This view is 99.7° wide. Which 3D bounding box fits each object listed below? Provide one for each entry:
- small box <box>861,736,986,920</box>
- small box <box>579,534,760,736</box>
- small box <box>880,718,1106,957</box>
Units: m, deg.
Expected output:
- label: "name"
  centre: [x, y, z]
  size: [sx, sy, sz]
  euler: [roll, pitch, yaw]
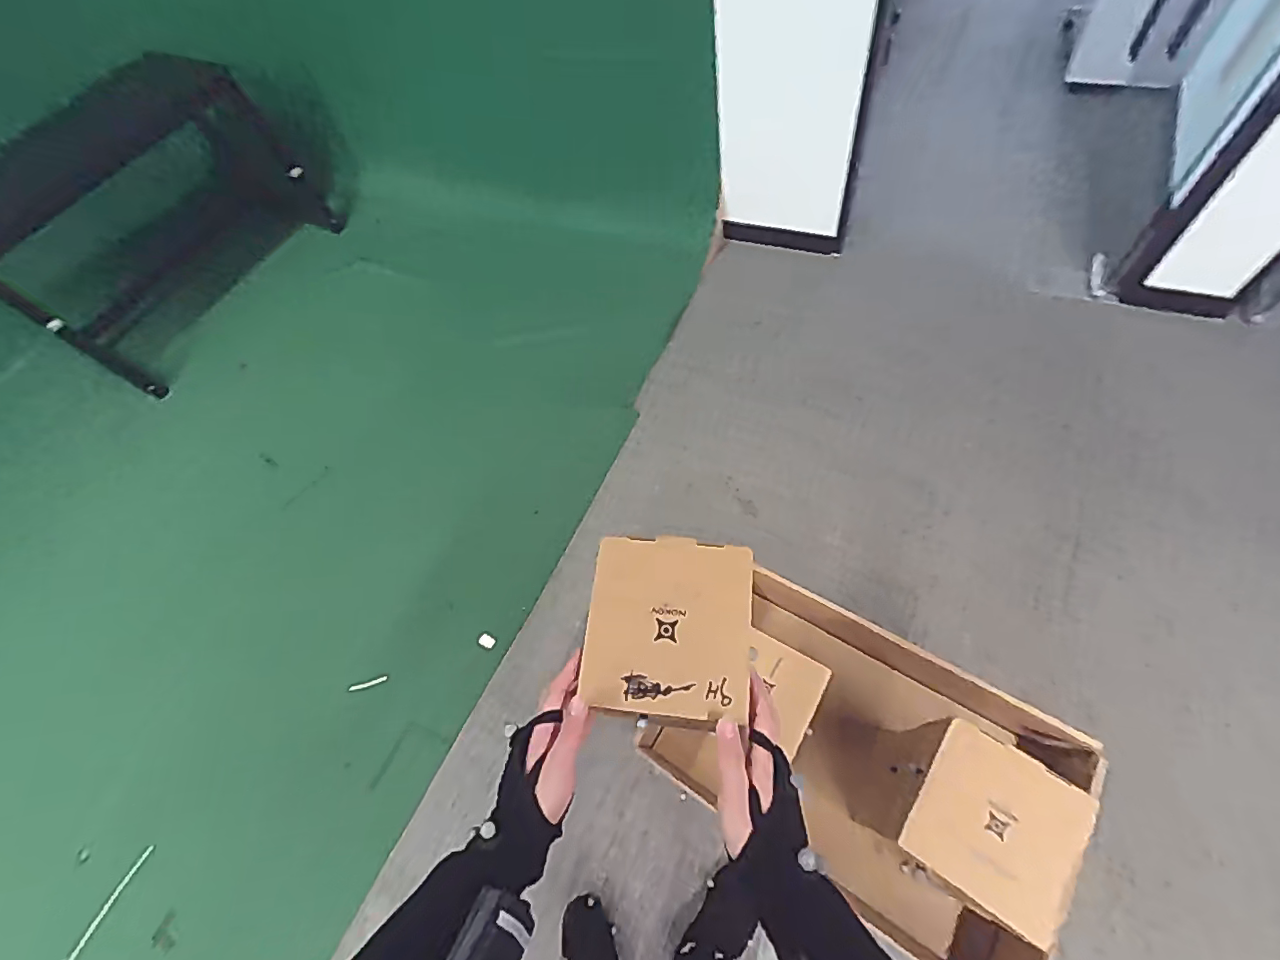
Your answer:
- label: "small box"
  centre: [0.464, 0.516, 0.832]
  size: [0.168, 0.176, 0.179]
  euler: [31, 72, 24]
- label: "small box"
  centre: [0.040, 0.177, 0.604]
  size: [0.168, 0.176, 0.179]
  euler: [4, 62, 8]
- label: "small box"
  centre: [0.433, 0.437, 0.693]
  size: [0.168, 0.176, 0.179]
  euler: [30, 71, 24]
